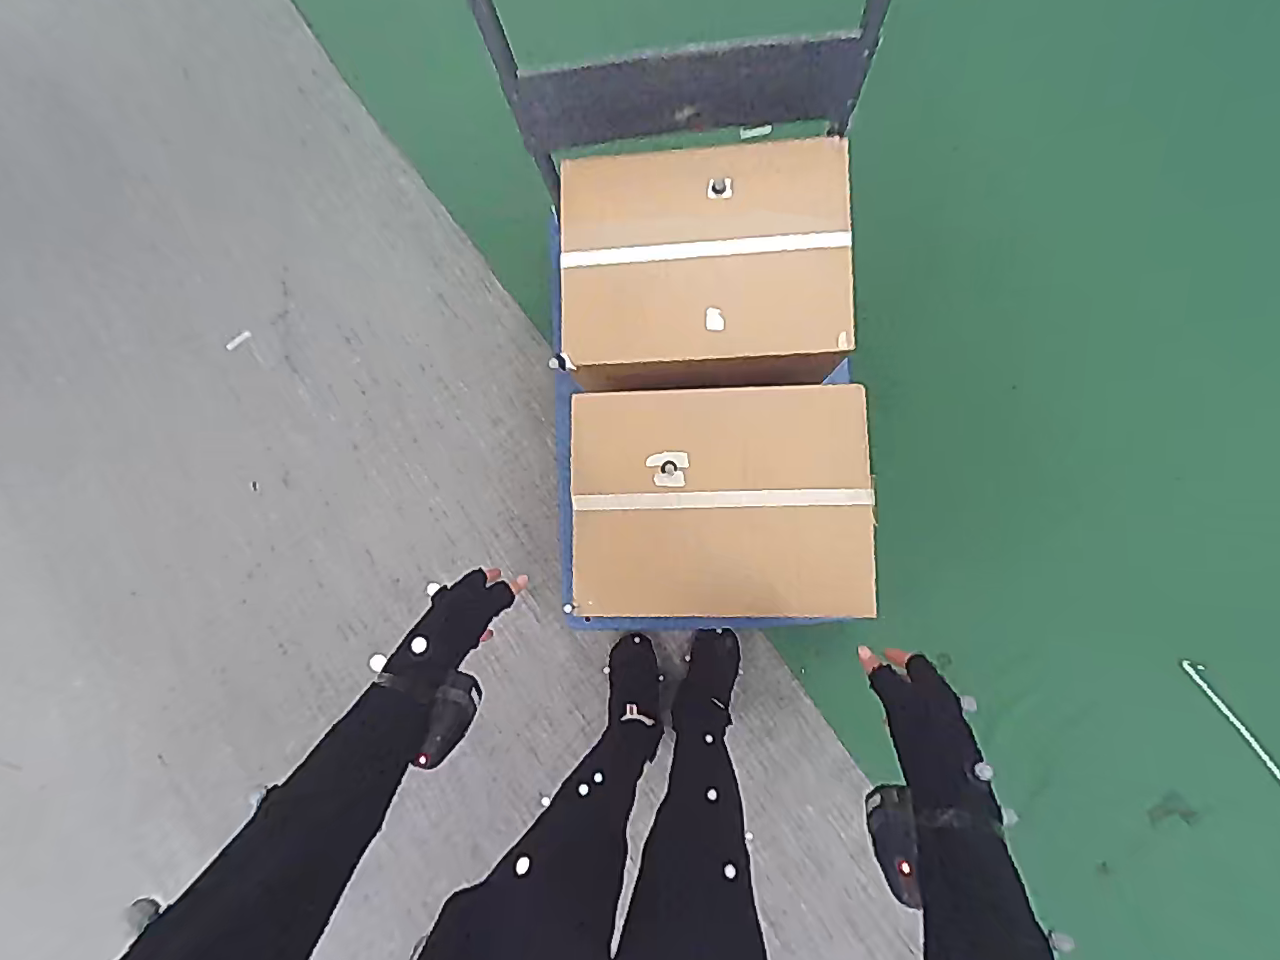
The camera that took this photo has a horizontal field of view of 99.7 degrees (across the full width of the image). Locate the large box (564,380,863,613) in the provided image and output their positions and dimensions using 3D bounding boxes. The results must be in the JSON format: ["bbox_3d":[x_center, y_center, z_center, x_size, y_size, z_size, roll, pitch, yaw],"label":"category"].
[{"bbox_3d":[0.110,0.033,0.883,0.408,0.320,0.320,-1,85,6],"label":"large box"}]
